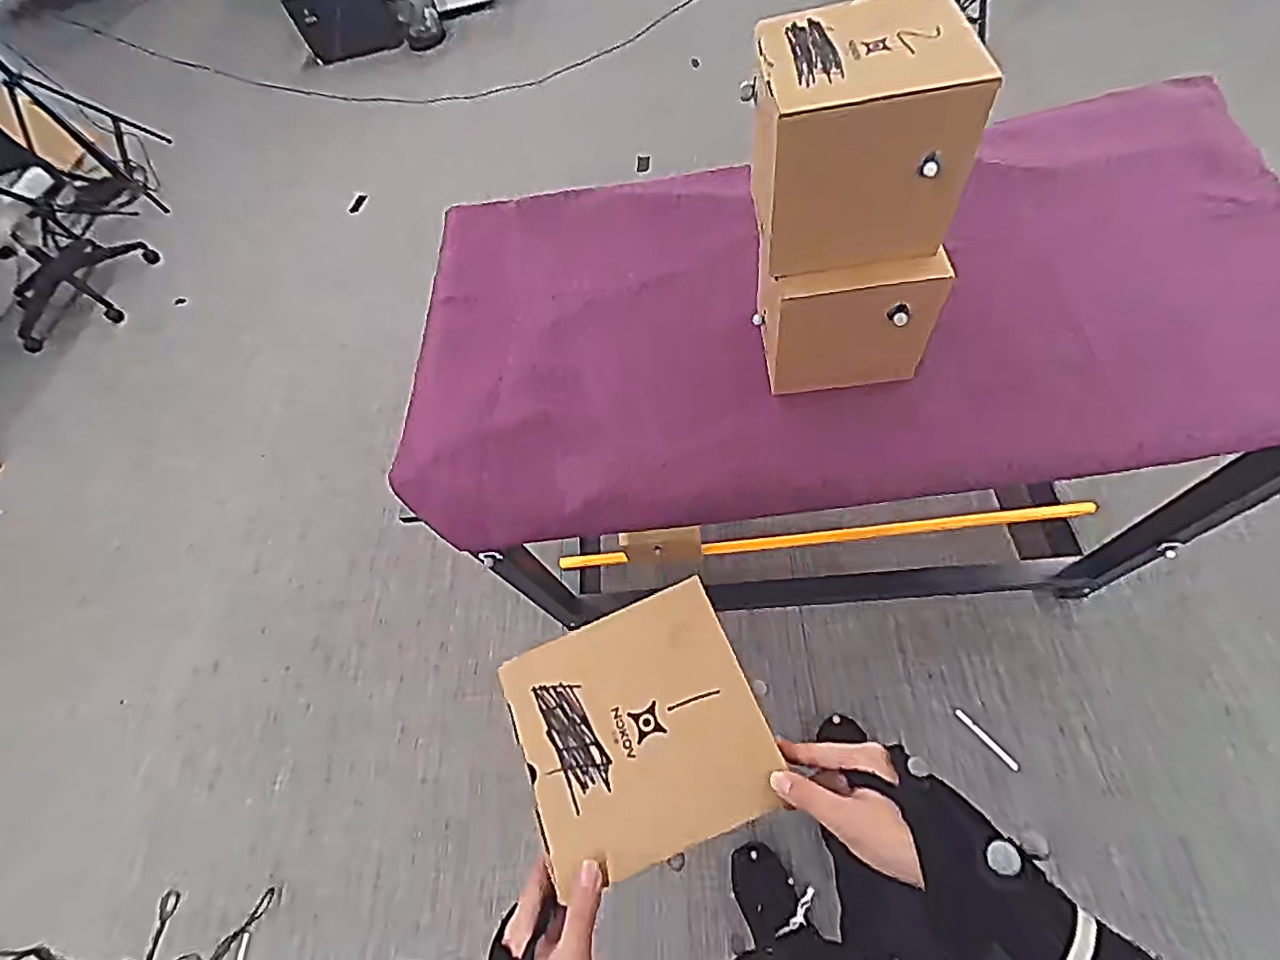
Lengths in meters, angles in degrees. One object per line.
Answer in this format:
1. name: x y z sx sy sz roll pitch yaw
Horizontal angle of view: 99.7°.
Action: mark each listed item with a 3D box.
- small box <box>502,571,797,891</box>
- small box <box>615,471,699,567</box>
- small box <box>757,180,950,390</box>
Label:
1. small box: 0.012 0.204 0.459 0.179 0.176 0.168 -24 63 -2
2. small box: 0.043 0.095 1.245 0.179 0.176 0.168 -7 63 7
3. small box: 0.244 -0.231 0.668 0.179 0.176 0.168 -5 60 8
